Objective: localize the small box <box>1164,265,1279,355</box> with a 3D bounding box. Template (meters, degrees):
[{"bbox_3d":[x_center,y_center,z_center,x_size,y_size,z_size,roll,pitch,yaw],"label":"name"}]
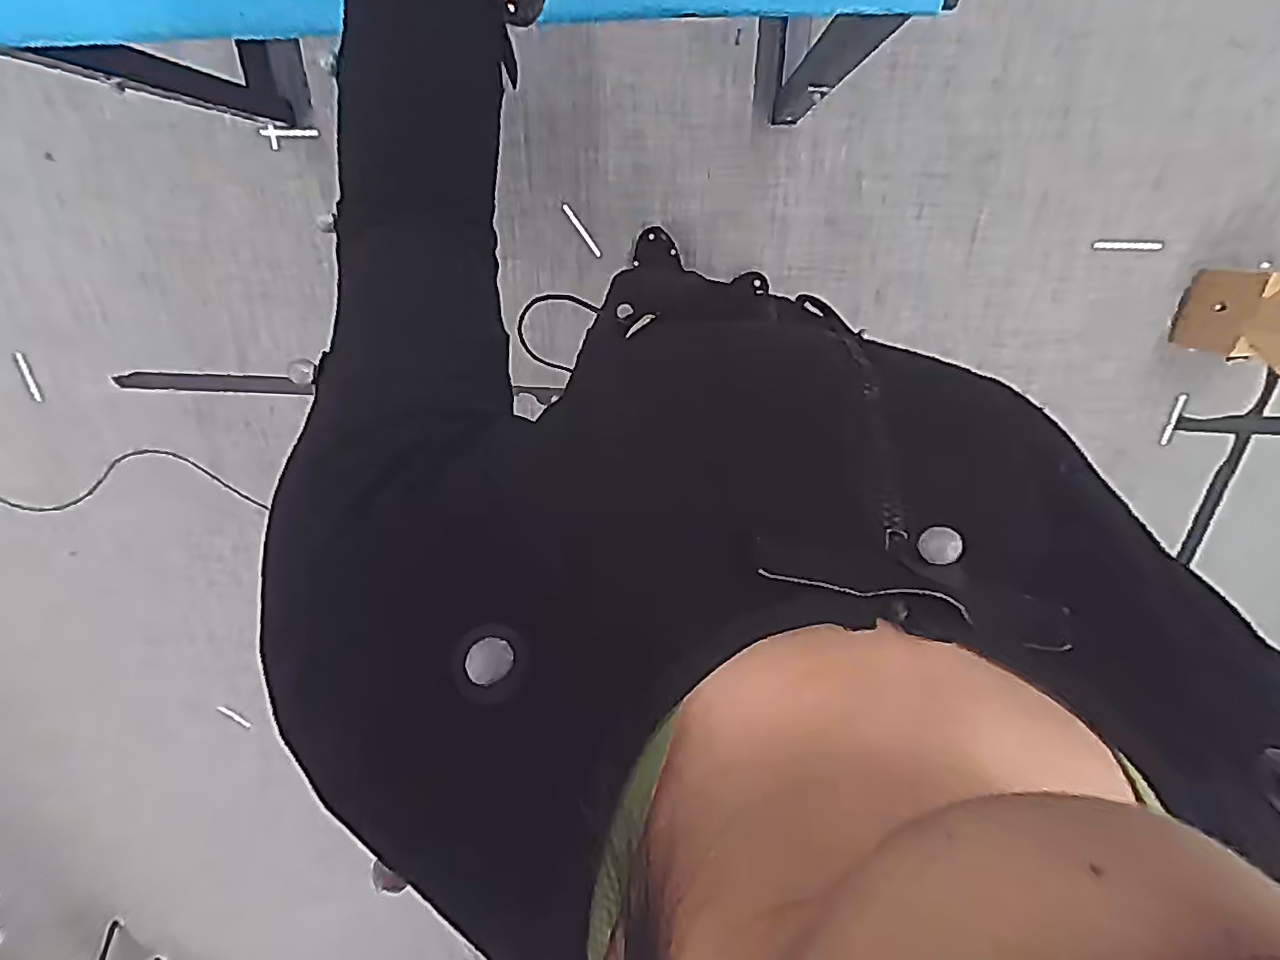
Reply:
[{"bbox_3d":[1.370,-0.388,1.235,0.168,0.176,0.179,3,114,1],"label":"small box"}]

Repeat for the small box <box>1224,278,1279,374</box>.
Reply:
[{"bbox_3d":[1.374,-0.317,1.083,0.168,0.176,0.179,36,111,-13],"label":"small box"}]
